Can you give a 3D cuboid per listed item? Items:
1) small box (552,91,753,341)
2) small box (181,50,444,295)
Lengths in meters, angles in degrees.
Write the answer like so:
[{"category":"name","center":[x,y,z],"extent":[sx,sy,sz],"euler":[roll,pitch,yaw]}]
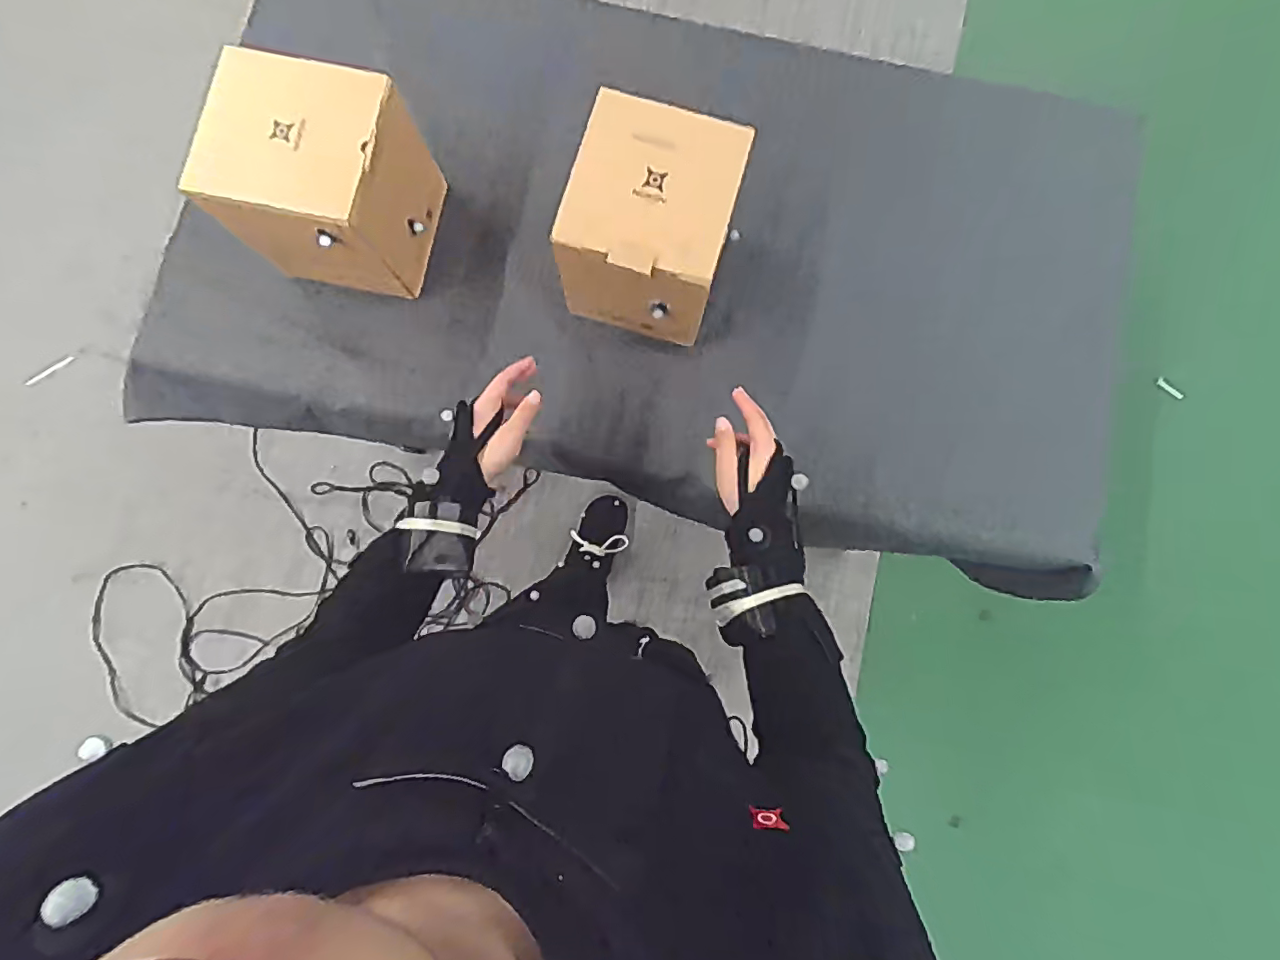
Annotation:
[{"category":"small box","center":[0.013,-0.281,0.615],"extent":[0.168,0.176,0.179],"euler":[16,82,0]},{"category":"small box","center":[-0.351,-0.333,0.617],"extent":[0.179,0.176,0.168],"euler":[11,83,0]}]
